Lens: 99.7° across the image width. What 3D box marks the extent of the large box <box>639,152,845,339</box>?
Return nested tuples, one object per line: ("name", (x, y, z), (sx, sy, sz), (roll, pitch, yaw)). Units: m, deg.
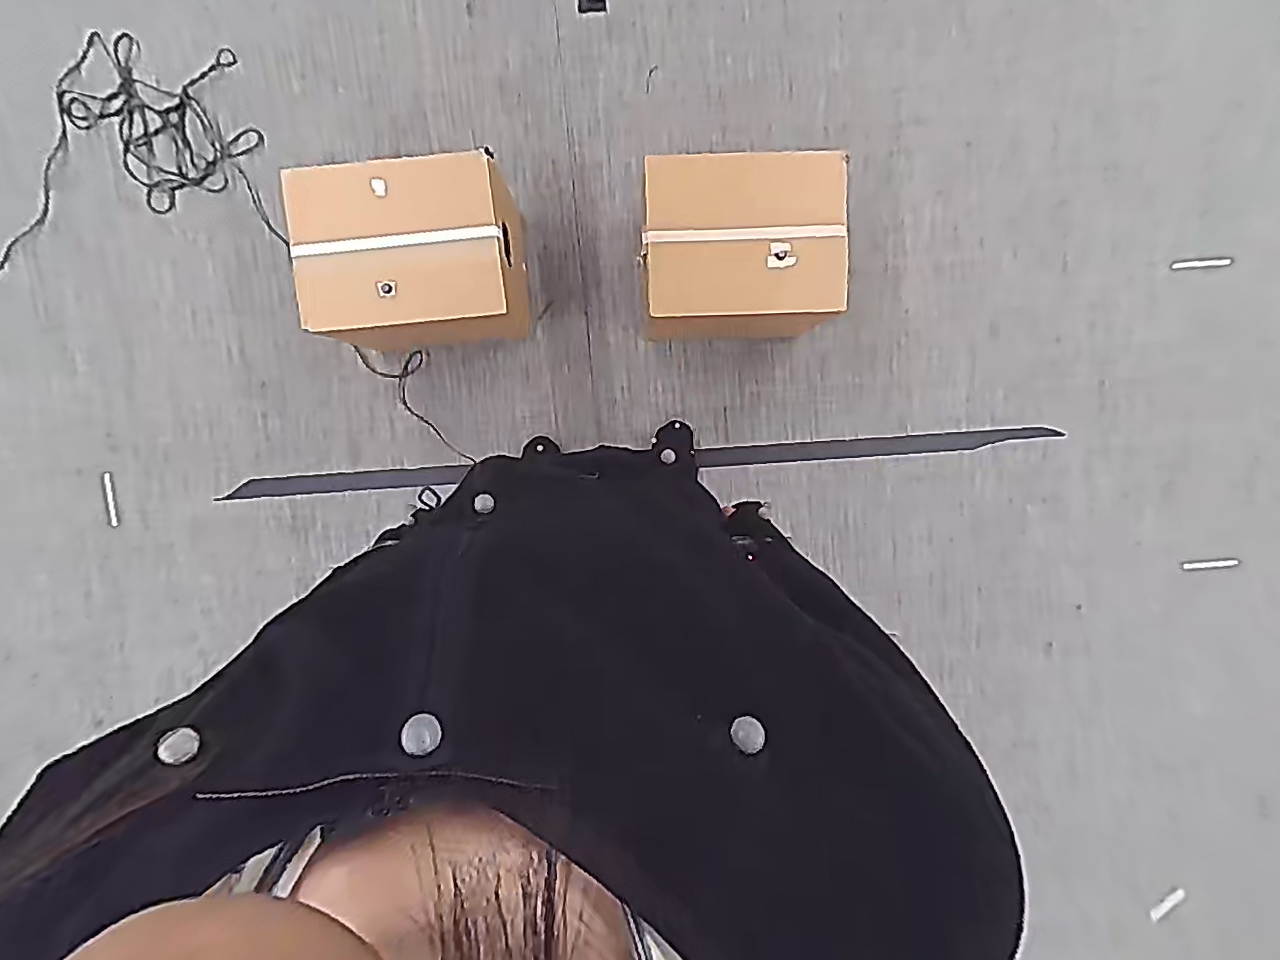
("large box", (0.209, -0.509, 1.237), (0.408, 0.320, 0.320), (-2, 96, -2))
